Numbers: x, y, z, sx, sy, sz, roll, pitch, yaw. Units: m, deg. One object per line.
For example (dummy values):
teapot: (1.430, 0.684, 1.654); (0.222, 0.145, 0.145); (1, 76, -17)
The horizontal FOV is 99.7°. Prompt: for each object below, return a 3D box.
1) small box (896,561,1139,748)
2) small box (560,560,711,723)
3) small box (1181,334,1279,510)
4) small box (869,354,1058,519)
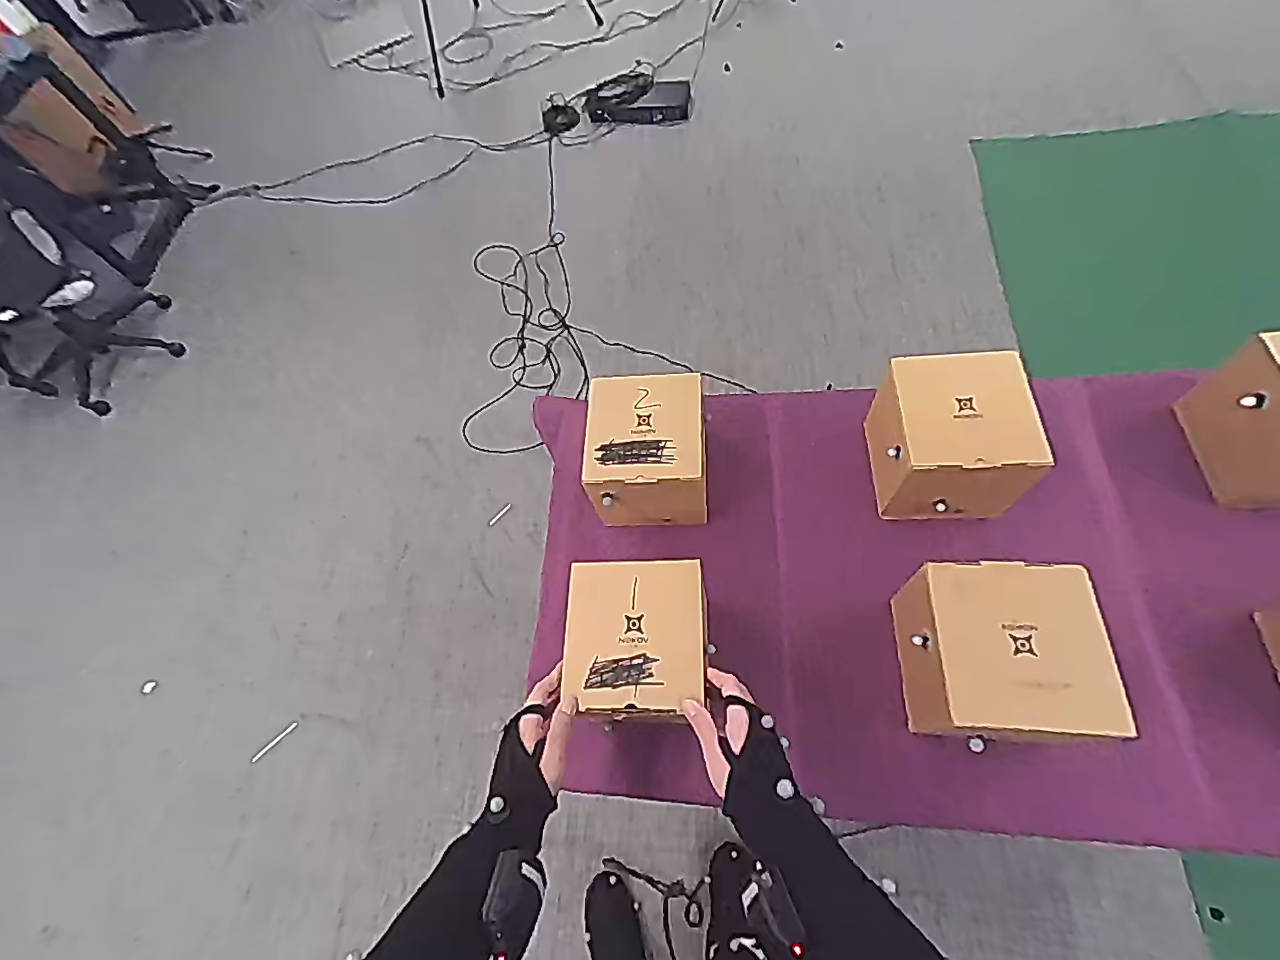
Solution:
small box: (0.416, 0.209, 0.637); (0.168, 0.176, 0.179); (0, 63, 10)
small box: (0.005, 0.213, 0.697); (0.168, 0.176, 0.179); (-2, 61, 7)
small box: (0.875, -0.072, 0.702); (0.168, 0.176, 0.179); (-2, 64, 11)
small box: (0.439, -0.056, 0.771); (0.168, 0.176, 0.179); (-1, 64, 8)
